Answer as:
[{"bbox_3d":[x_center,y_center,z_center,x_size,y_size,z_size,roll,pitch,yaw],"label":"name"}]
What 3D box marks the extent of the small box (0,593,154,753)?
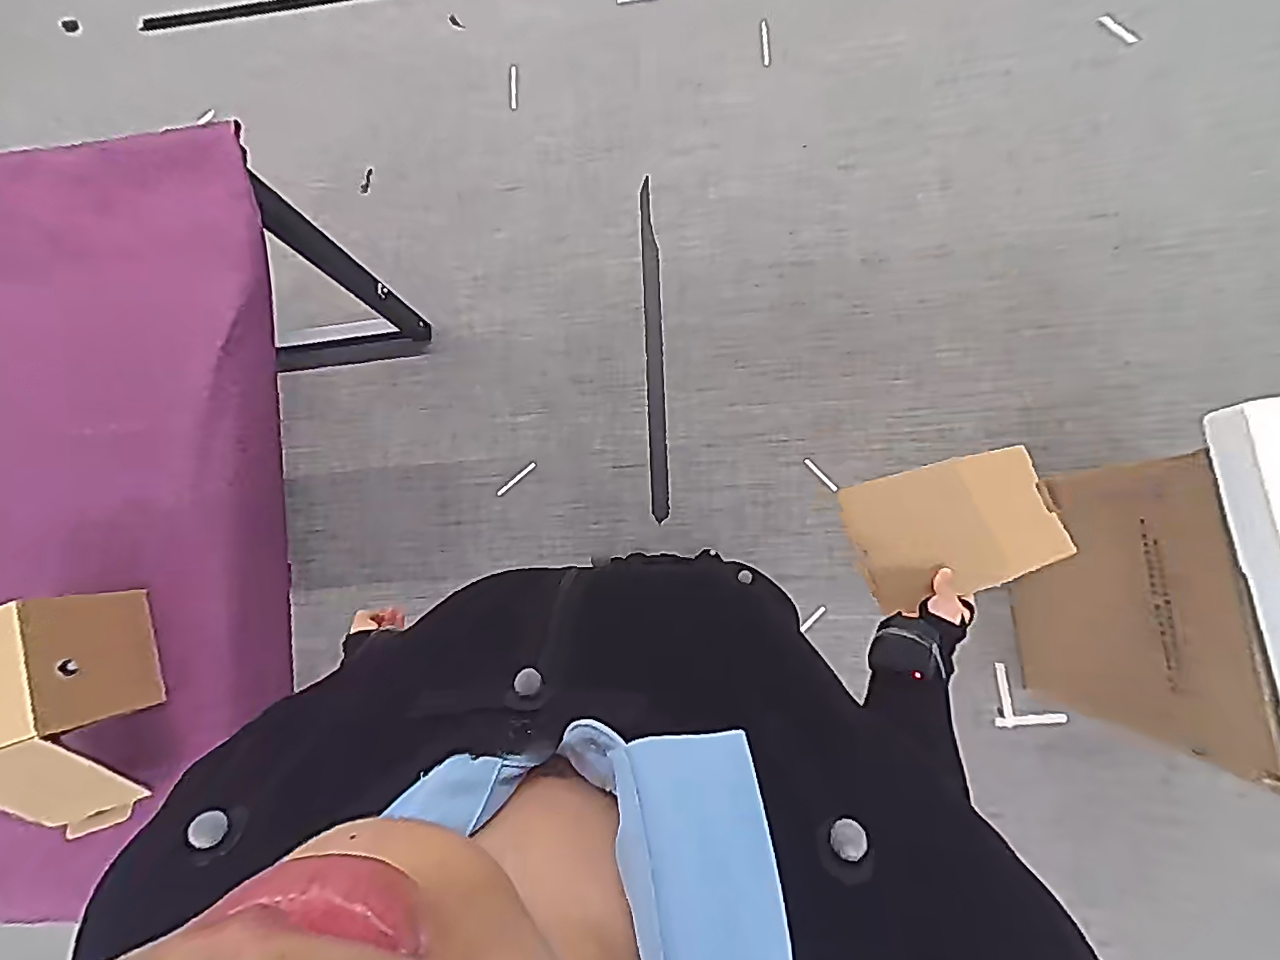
[{"bbox_3d":[-0.824,0.267,0.743,0.168,0.176,0.179,-19,81,2],"label":"small box"}]
